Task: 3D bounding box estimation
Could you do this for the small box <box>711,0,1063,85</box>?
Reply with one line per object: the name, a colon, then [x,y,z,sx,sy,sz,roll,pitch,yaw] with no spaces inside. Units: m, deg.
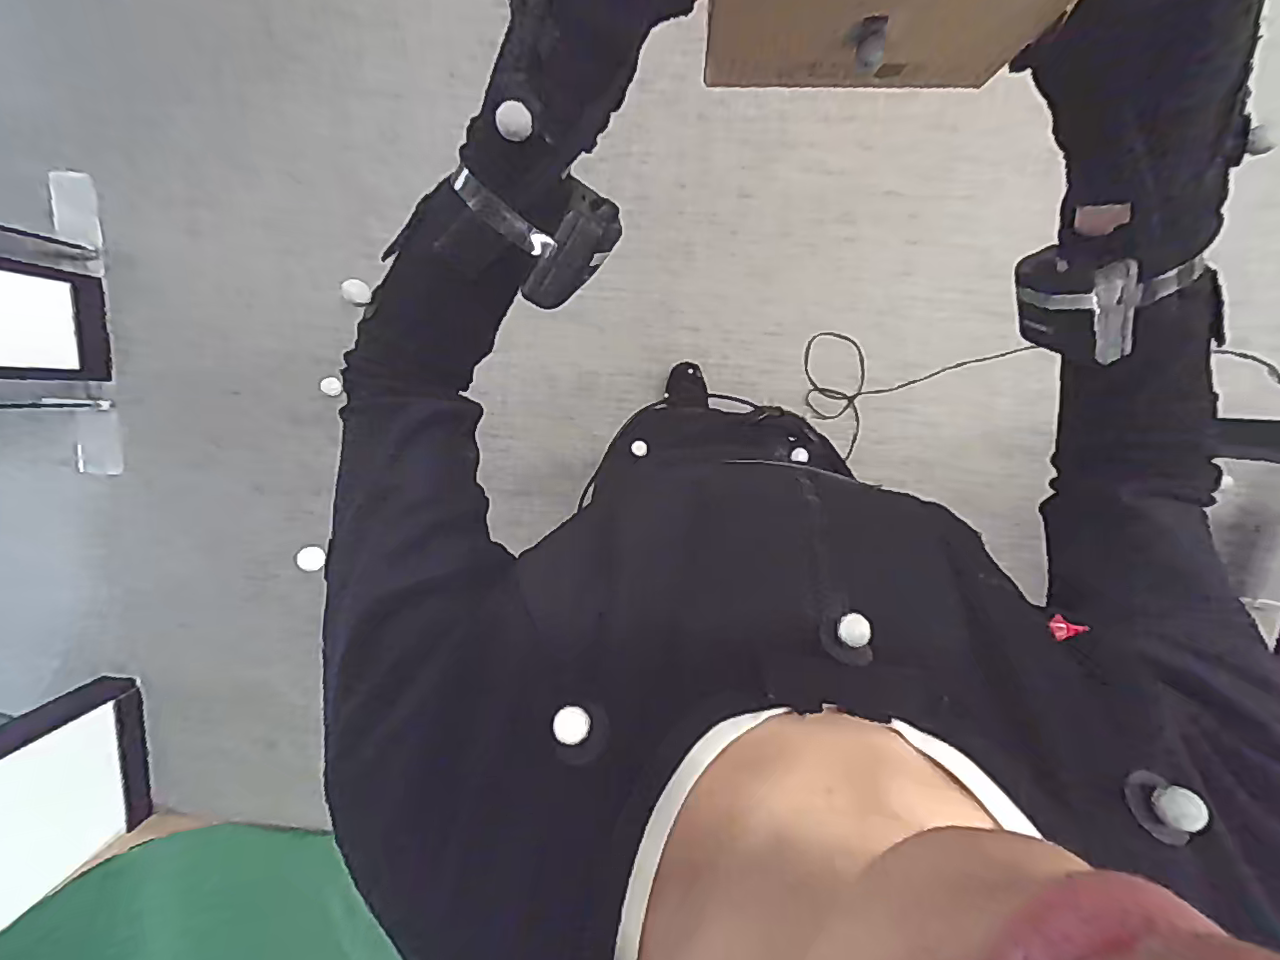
small box: [0.120,-0.306,0.224,0.168,0.176,0.179,2,101,3]
